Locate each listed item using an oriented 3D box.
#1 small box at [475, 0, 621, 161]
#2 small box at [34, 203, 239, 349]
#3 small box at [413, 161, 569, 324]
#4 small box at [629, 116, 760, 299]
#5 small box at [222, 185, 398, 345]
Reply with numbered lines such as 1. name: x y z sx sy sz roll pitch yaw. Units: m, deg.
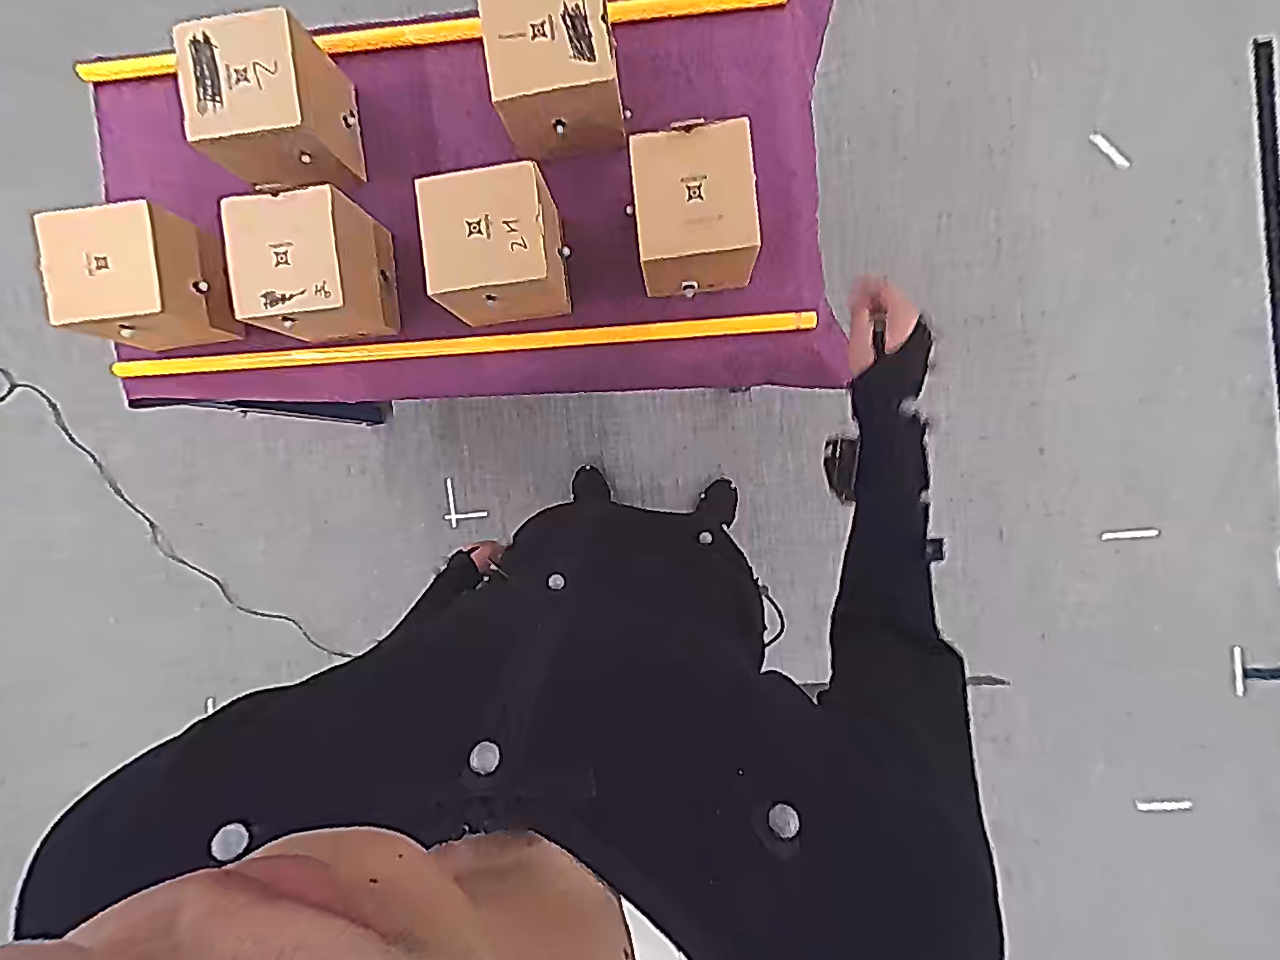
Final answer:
1. small box: -0.125 -0.612 0.808 0.179 0.176 0.168 -7 93 5
2. small box: -0.782 -0.314 0.864 0.179 0.176 0.168 -6 91 3
3. small box: -0.217 -0.346 0.823 0.179 0.176 0.168 -6 90 4
4. small box: 0.078 -0.389 0.800 0.168 0.176 0.179 -6 90 6
5. small box: -0.502 -0.324 0.844 0.168 0.176 0.179 -5 91 5
